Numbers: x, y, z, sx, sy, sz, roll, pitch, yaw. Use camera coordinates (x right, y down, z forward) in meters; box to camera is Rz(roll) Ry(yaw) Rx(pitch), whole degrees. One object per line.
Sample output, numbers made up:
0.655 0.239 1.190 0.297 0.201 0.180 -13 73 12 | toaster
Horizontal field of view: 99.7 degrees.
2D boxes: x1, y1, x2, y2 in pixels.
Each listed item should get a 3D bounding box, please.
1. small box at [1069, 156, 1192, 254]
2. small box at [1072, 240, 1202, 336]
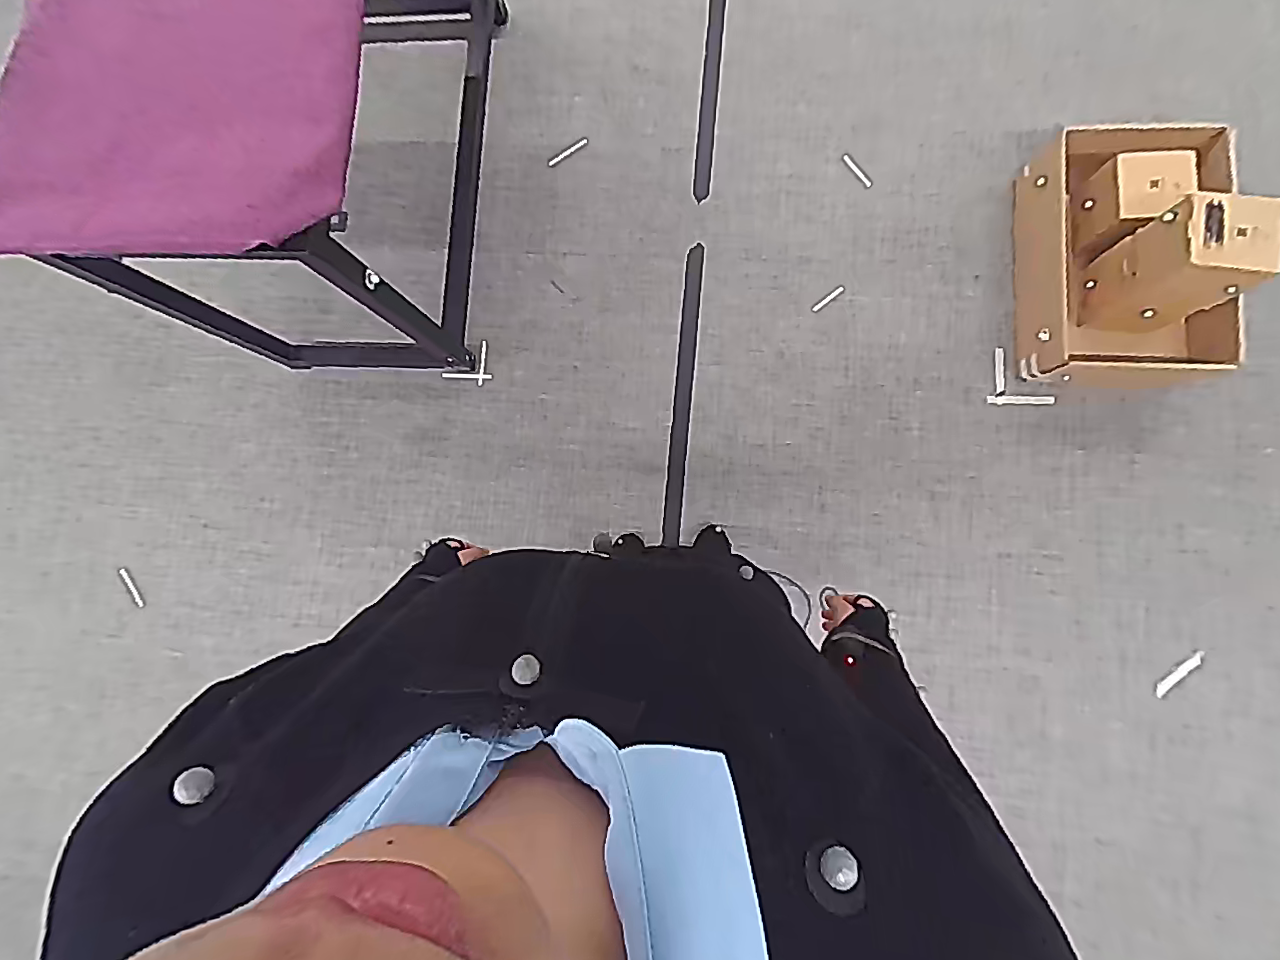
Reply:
1.235 -0.691 1.377 0.179 0.176 0.168 1 86 5 | small box
1.242 -0.476 1.359 0.179 0.176 0.168 7 83 6 | small box
